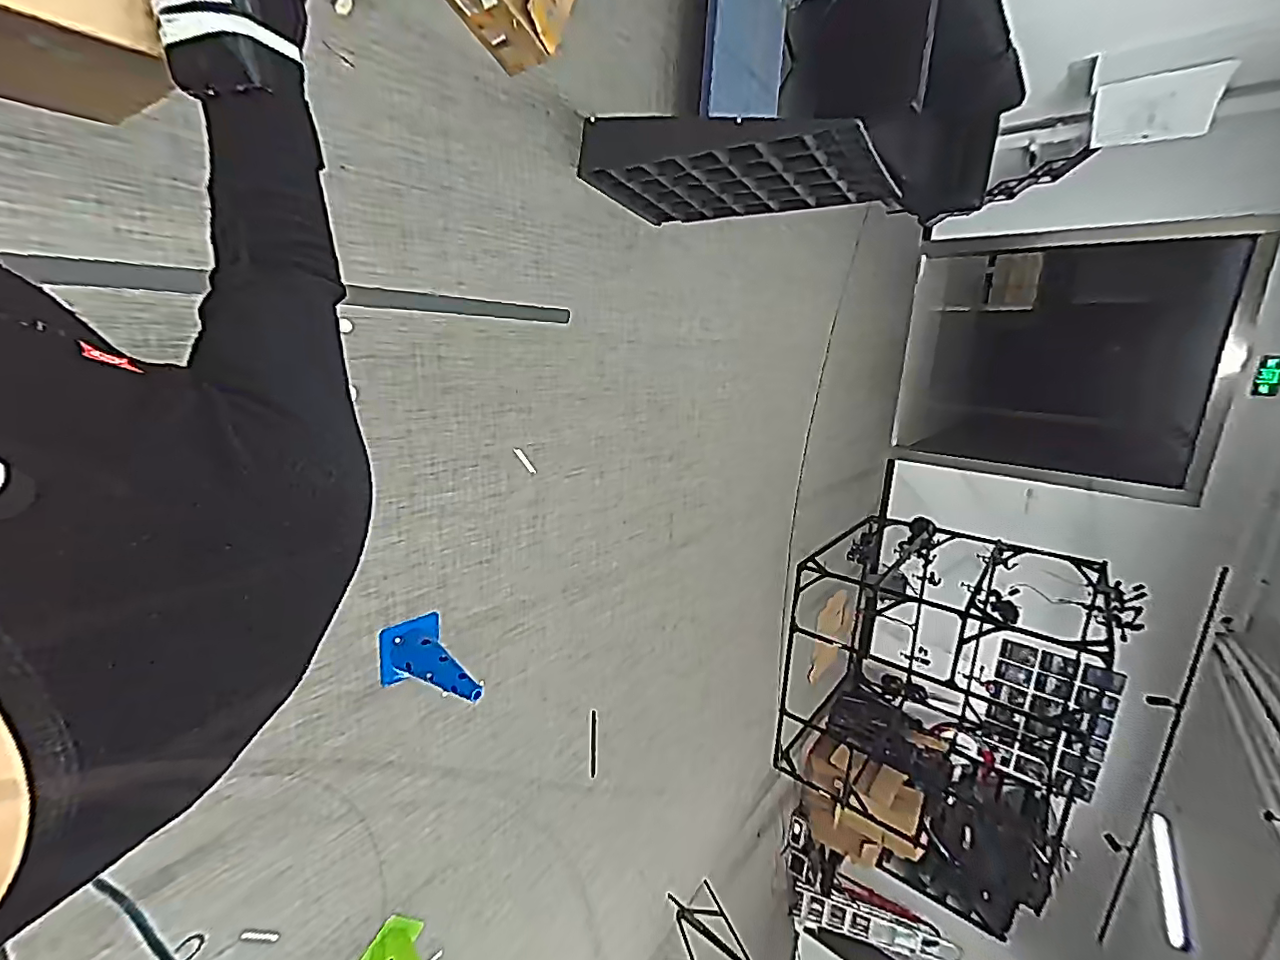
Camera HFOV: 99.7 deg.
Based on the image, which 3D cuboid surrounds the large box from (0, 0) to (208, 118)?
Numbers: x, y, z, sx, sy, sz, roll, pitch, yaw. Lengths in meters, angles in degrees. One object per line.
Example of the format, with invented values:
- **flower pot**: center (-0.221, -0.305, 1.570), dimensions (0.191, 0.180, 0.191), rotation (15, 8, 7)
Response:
- **large box**: center (-0.531, -0.437, 0.272), dimensions (0.408, 0.320, 0.320), rotation (-16, 118, -50)

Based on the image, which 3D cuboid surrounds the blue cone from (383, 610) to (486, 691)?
- **blue cone**: center (-0.612, 0.559, 1.656), dimensions (0.192, 0.380, 0.193), rotation (-10, 109, -52)

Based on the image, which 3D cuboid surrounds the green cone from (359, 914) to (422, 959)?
- **green cone**: center (-0.749, 1.674, 1.799), dimensions (0.202, 0.368, 0.200), rotation (-55, 139, -29)
